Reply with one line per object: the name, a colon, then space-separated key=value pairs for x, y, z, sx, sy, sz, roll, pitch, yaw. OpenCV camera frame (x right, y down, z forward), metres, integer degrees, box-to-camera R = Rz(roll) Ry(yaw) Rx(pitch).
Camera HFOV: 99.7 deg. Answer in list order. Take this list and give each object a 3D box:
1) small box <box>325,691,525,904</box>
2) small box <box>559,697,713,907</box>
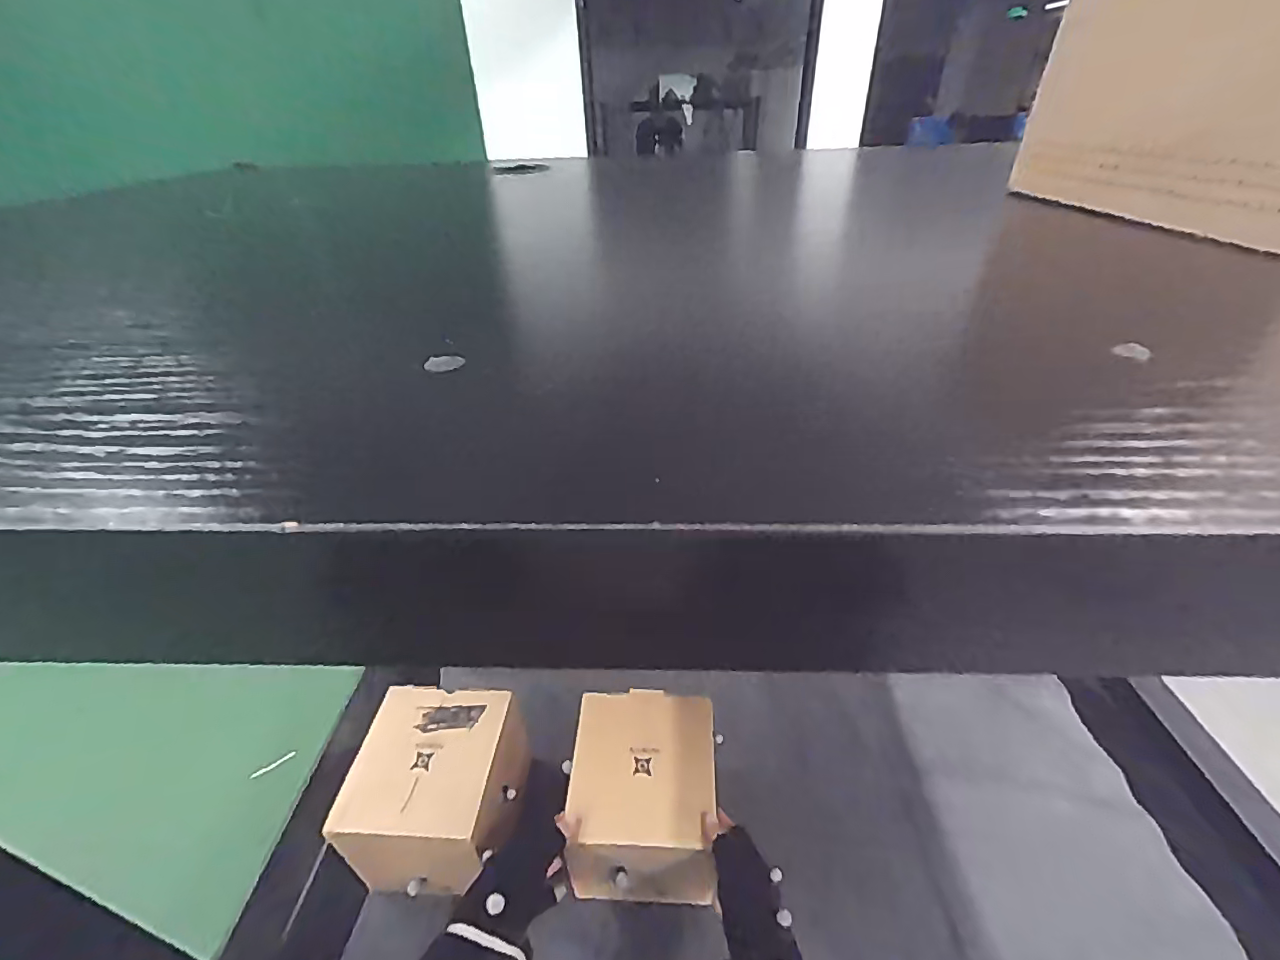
small box: x=-0.249 y=0.395 z=0.683 sx=0.168 sy=0.176 sz=0.179 roll=0 pitch=35 yaw=4
small box: x=0.003 y=0.398 z=0.672 sx=0.168 sy=0.176 sz=0.179 roll=0 pitch=35 yaw=3
